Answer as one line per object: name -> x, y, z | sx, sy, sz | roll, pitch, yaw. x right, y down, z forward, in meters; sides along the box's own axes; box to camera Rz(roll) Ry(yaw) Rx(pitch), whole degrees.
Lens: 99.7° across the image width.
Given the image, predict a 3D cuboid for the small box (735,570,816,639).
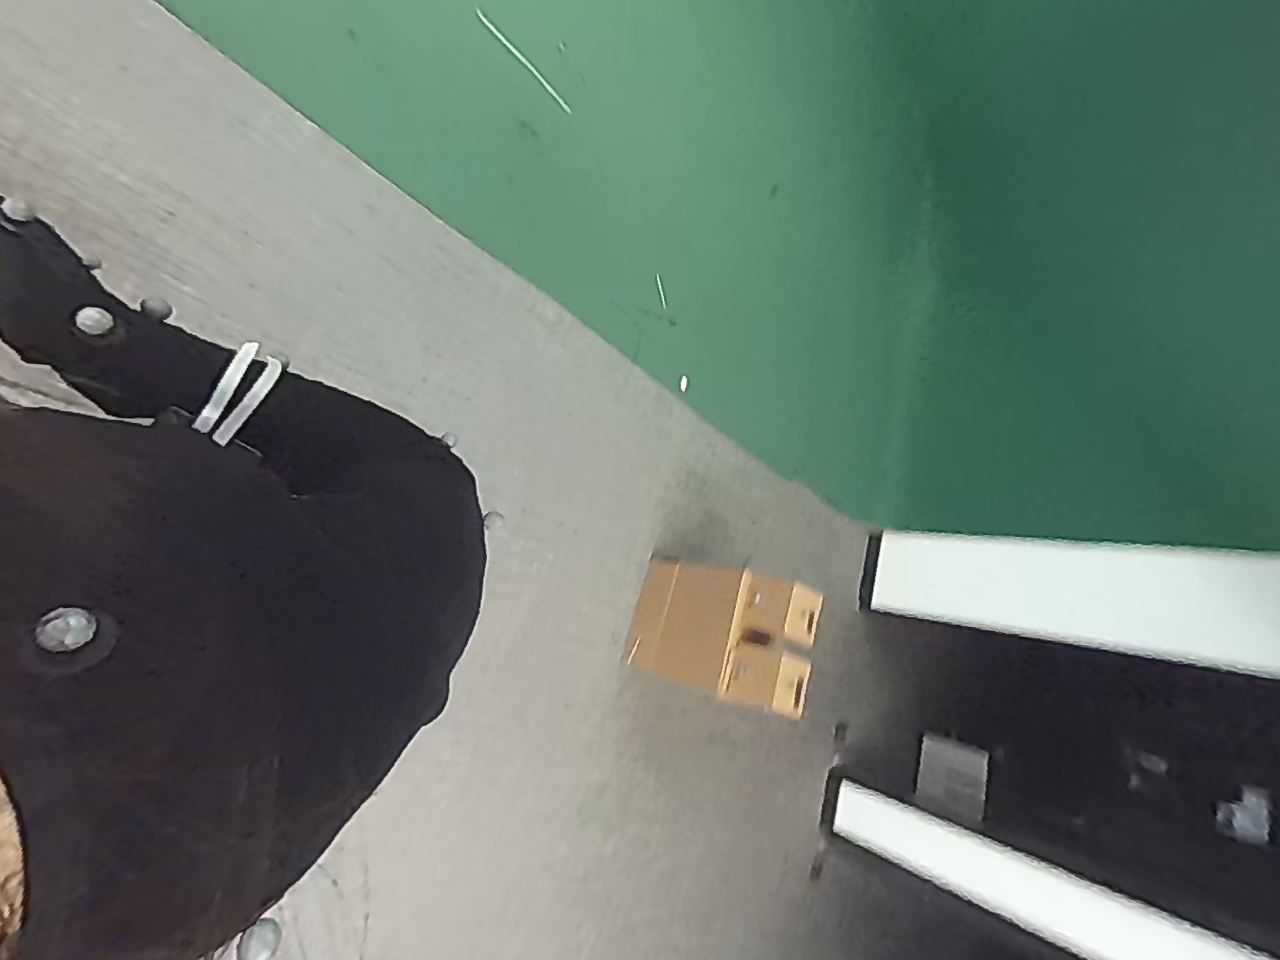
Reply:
small box -> 0.442, 0.403, 1.773 | 0.179, 0.176, 0.168 | 29, 73, -36
